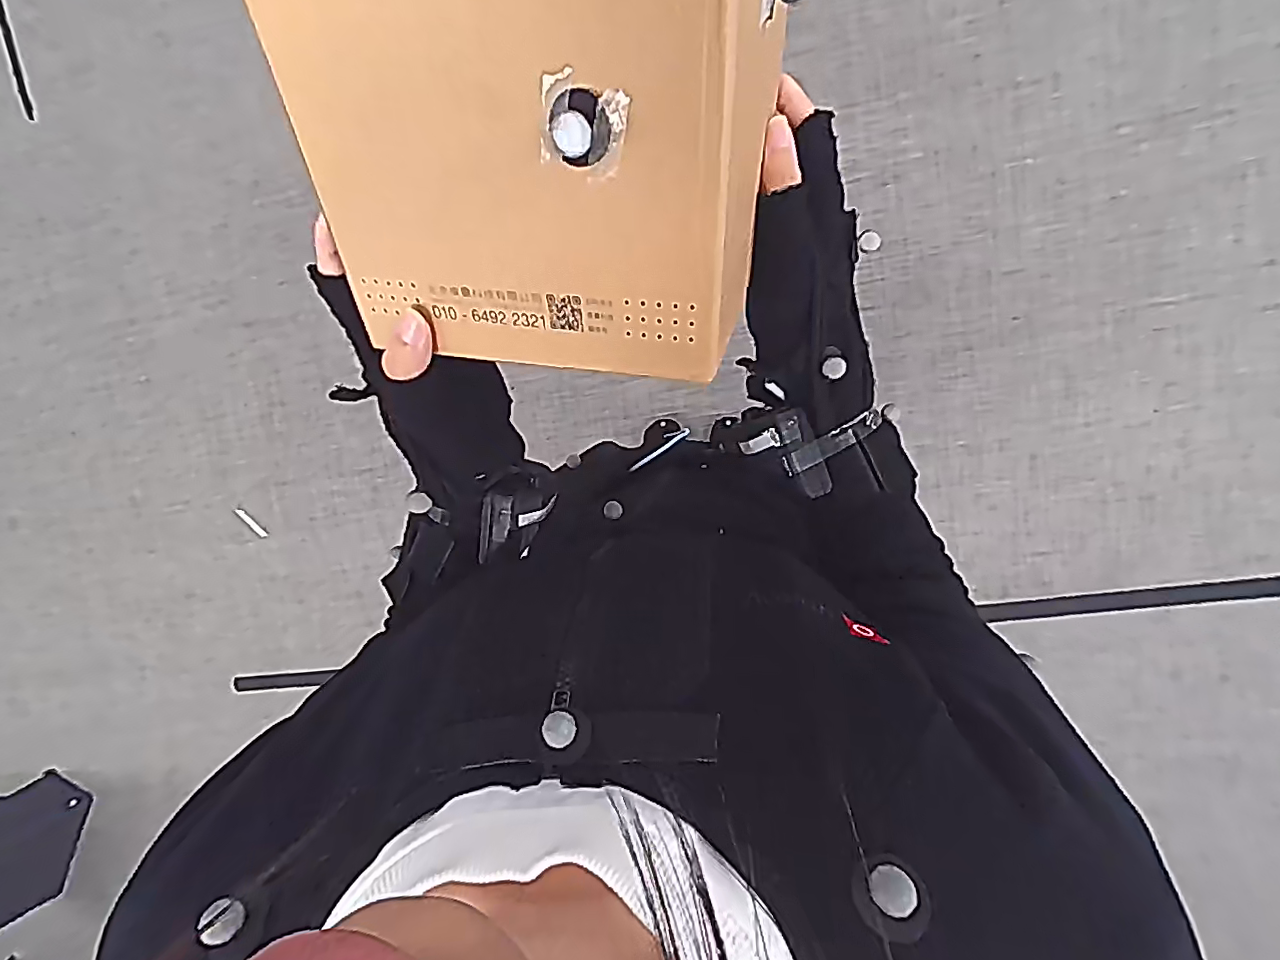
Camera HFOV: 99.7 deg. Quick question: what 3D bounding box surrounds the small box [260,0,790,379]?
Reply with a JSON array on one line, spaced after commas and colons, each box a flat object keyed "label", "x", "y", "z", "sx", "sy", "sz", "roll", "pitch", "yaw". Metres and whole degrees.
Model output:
[{"label": "small box", "x": -0.024, "y": -0.164, "z": 0.255, "sx": 0.168, "sy": 0.179, "sz": 0.176, "roll": 10, "pitch": 131, "yaw": 14}]
